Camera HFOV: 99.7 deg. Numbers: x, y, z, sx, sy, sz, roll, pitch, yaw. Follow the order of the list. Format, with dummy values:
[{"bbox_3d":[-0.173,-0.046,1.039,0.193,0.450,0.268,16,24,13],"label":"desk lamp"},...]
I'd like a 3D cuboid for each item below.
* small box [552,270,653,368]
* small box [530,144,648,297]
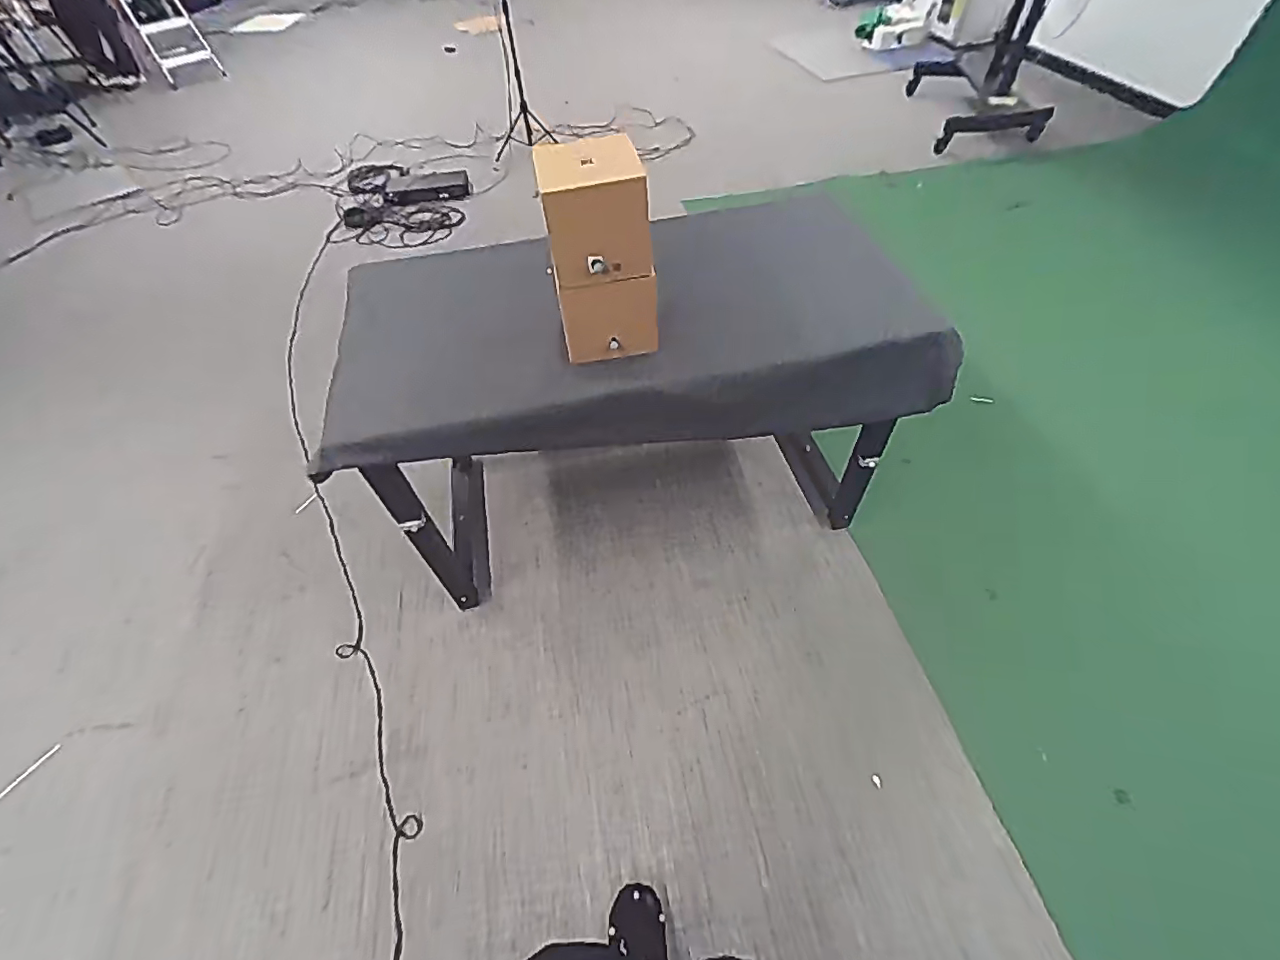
[{"bbox_3d":[-0.073,-0.340,1.053,0.179,0.176,0.168,-9,51,-5],"label":"small box"},{"bbox_3d":[-0.085,-0.443,0.928,0.168,0.176,0.179,-13,52,-4],"label":"small box"}]
